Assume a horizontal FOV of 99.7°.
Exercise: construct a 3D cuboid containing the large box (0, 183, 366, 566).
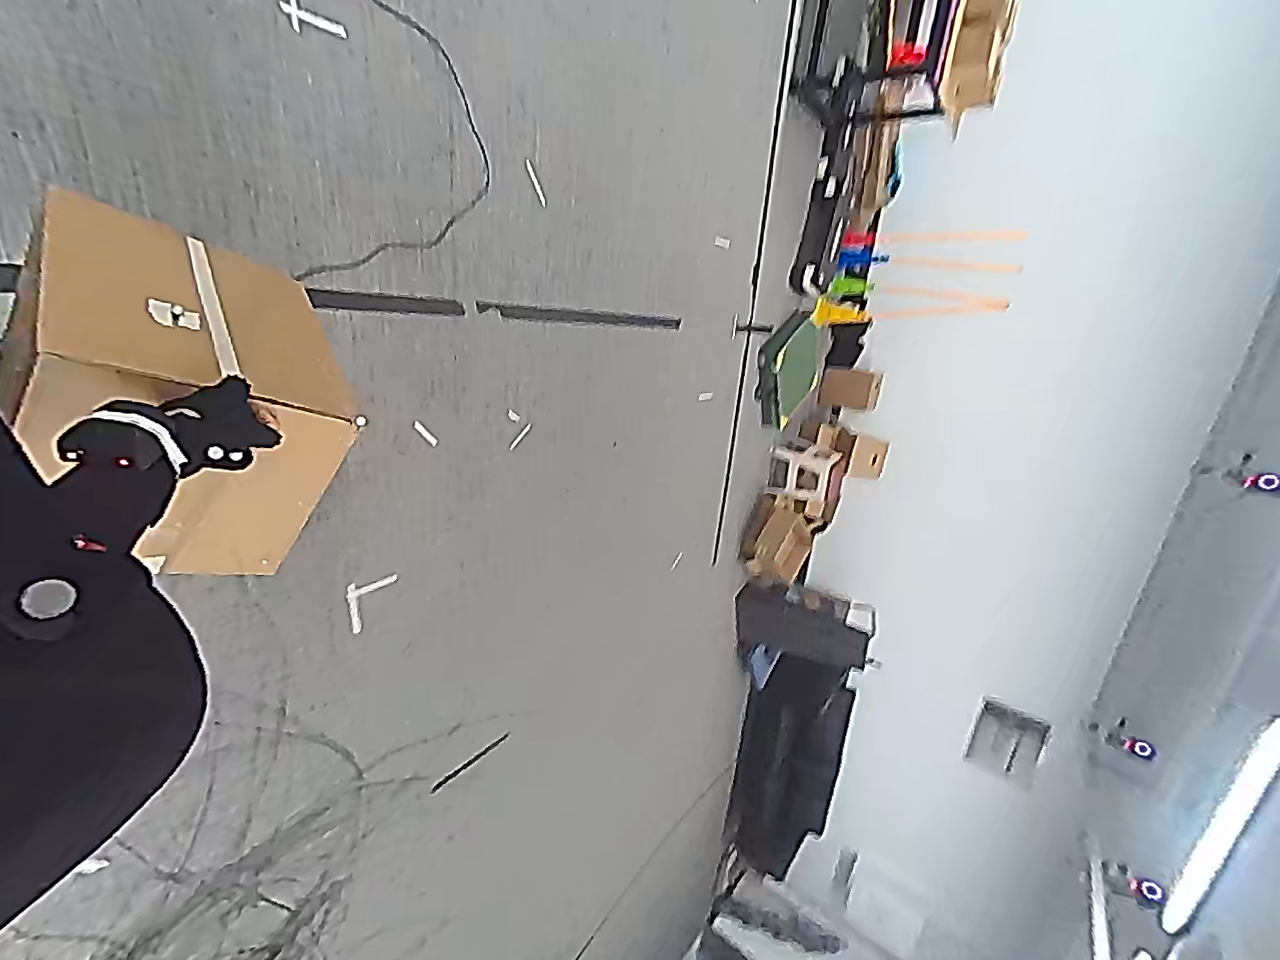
[{"bbox_3d":[-0.670,-0.128,0.782,0.320,0.408,0.320,-50,148,21],"label":"large box"}]
